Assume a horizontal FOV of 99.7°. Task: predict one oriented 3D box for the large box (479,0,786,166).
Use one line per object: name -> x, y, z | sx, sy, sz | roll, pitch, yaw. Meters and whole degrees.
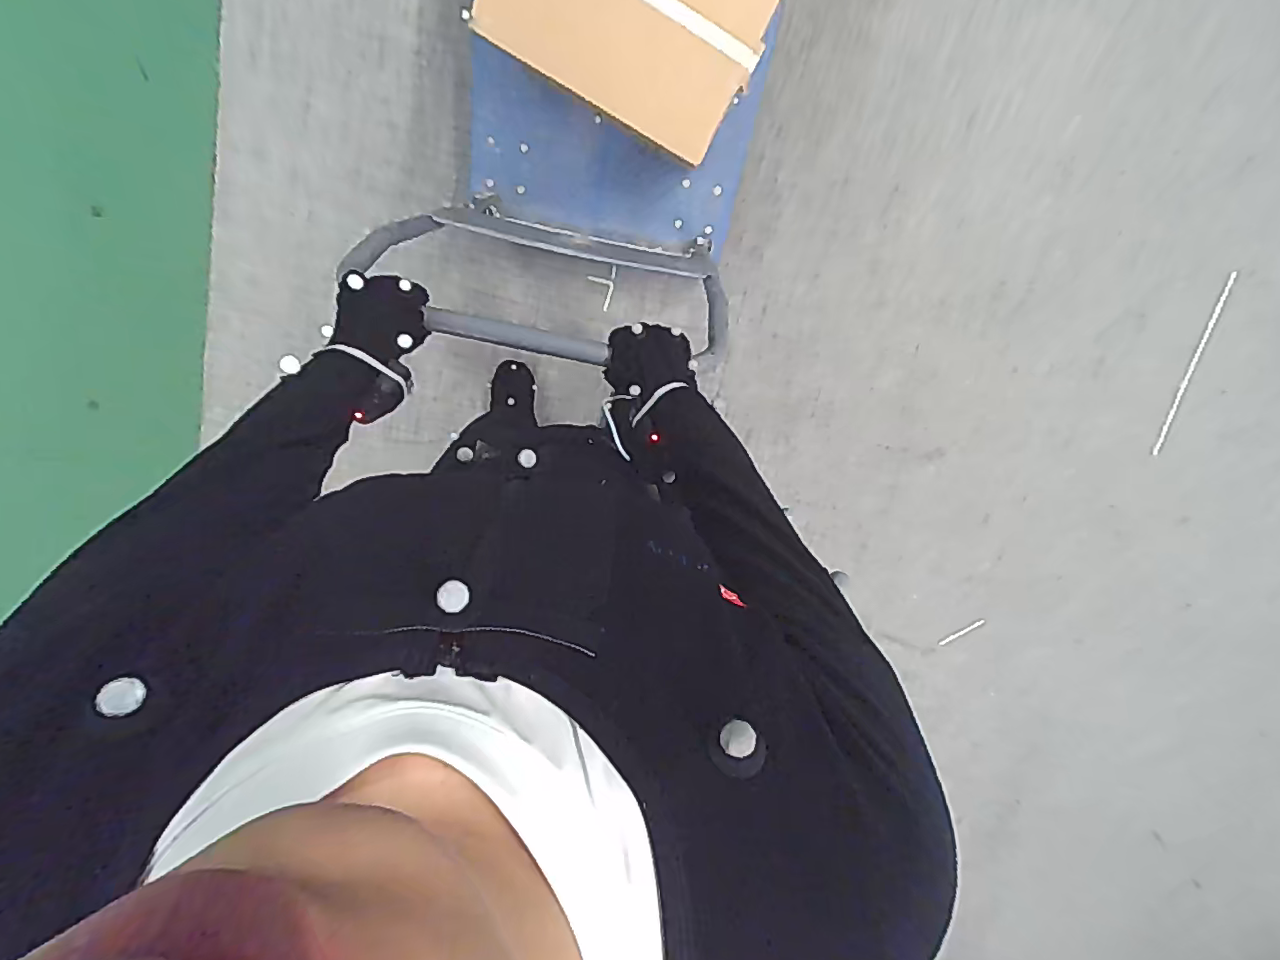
large box -> 0.011, -0.784, 0.914 | 0.408, 0.320, 0.320 | 26, 118, -9
